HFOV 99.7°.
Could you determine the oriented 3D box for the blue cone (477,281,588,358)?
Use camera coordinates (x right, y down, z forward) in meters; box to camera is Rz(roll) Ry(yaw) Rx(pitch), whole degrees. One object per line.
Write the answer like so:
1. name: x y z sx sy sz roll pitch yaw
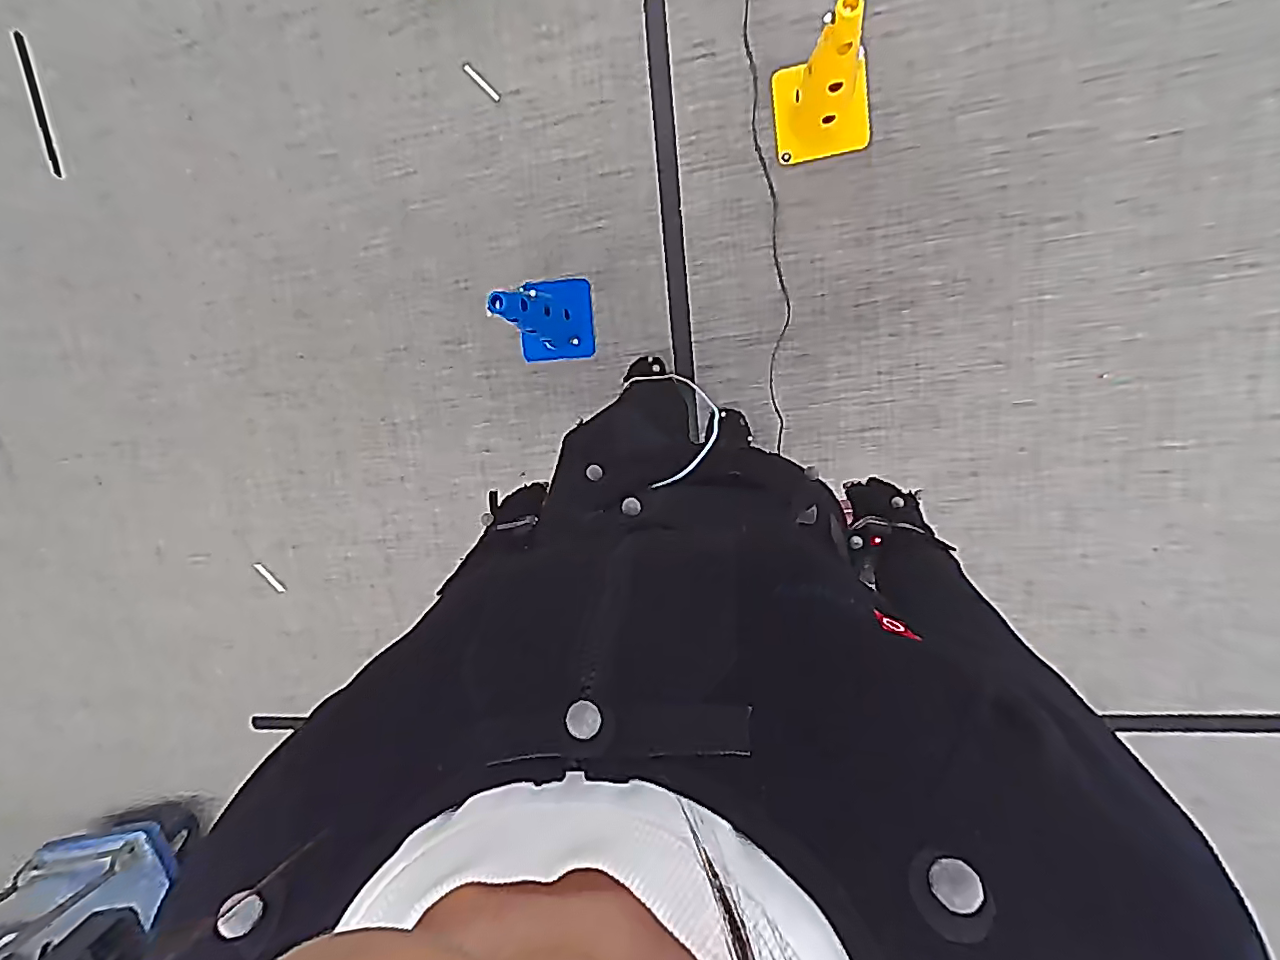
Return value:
1. blue cone: -0.263 -0.391 1.258 0.192 0.380 0.193 0 100 12
